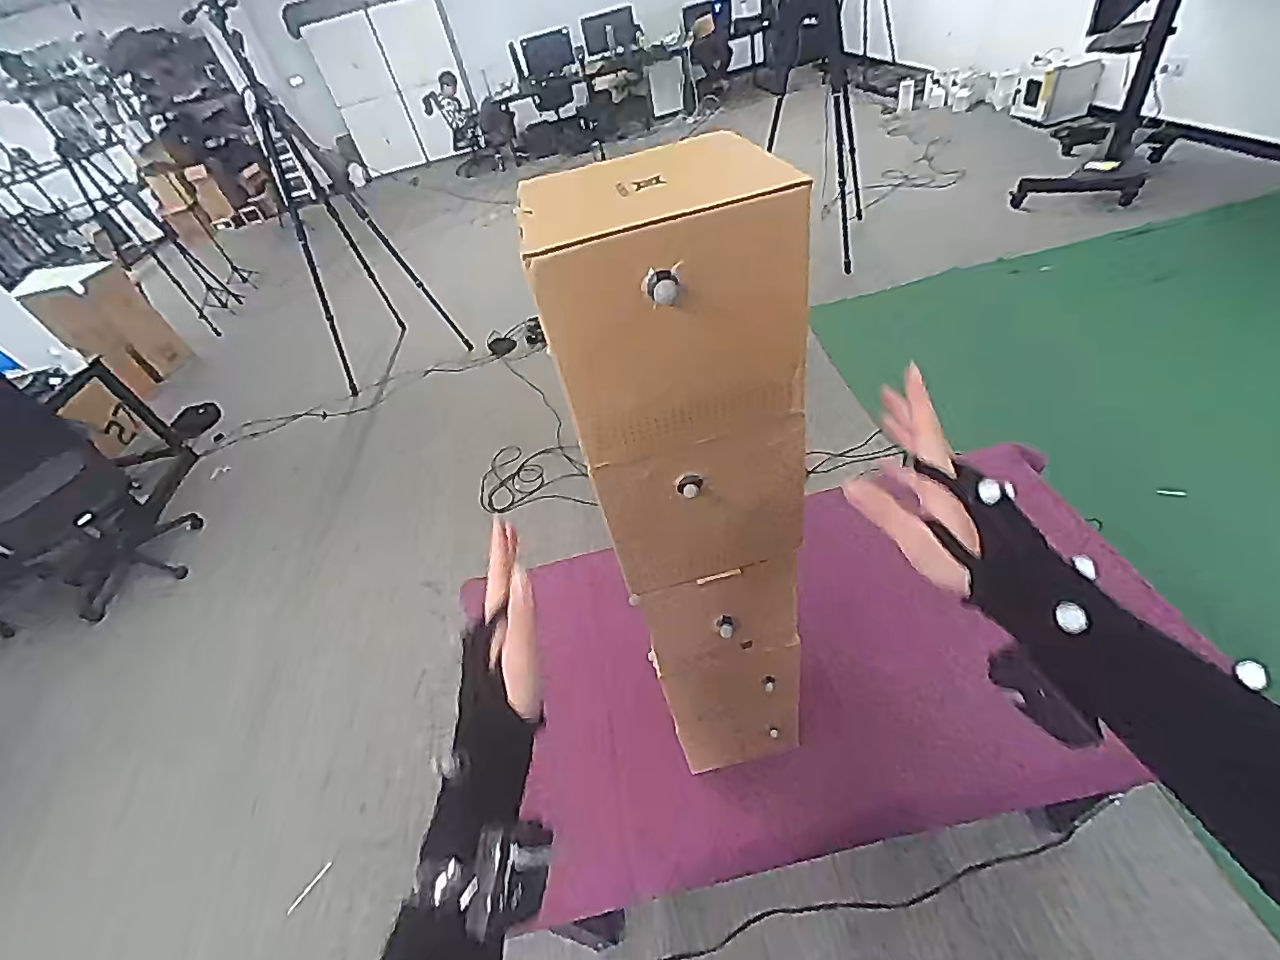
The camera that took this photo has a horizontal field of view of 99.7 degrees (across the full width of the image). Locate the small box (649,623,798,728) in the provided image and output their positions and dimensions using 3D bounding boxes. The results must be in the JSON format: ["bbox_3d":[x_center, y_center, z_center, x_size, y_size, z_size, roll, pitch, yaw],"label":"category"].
[{"bbox_3d":[0.105,0.215,0.747,0.179,0.176,0.168,-14,42,1],"label":"small box"}]

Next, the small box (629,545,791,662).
[{"bbox_3d":[0.073,0.095,0.642,0.168,0.176,0.179,-15,43,0],"label":"small box"}]

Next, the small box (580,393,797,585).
[{"bbox_3d":[0.043,-0.021,0.529,0.179,0.176,0.168,-14,42,-1],"label":"small box"}]

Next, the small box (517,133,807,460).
[{"bbox_3d":[0.015,-0.141,0.423,0.179,0.176,0.168,-15,42,0],"label":"small box"}]
